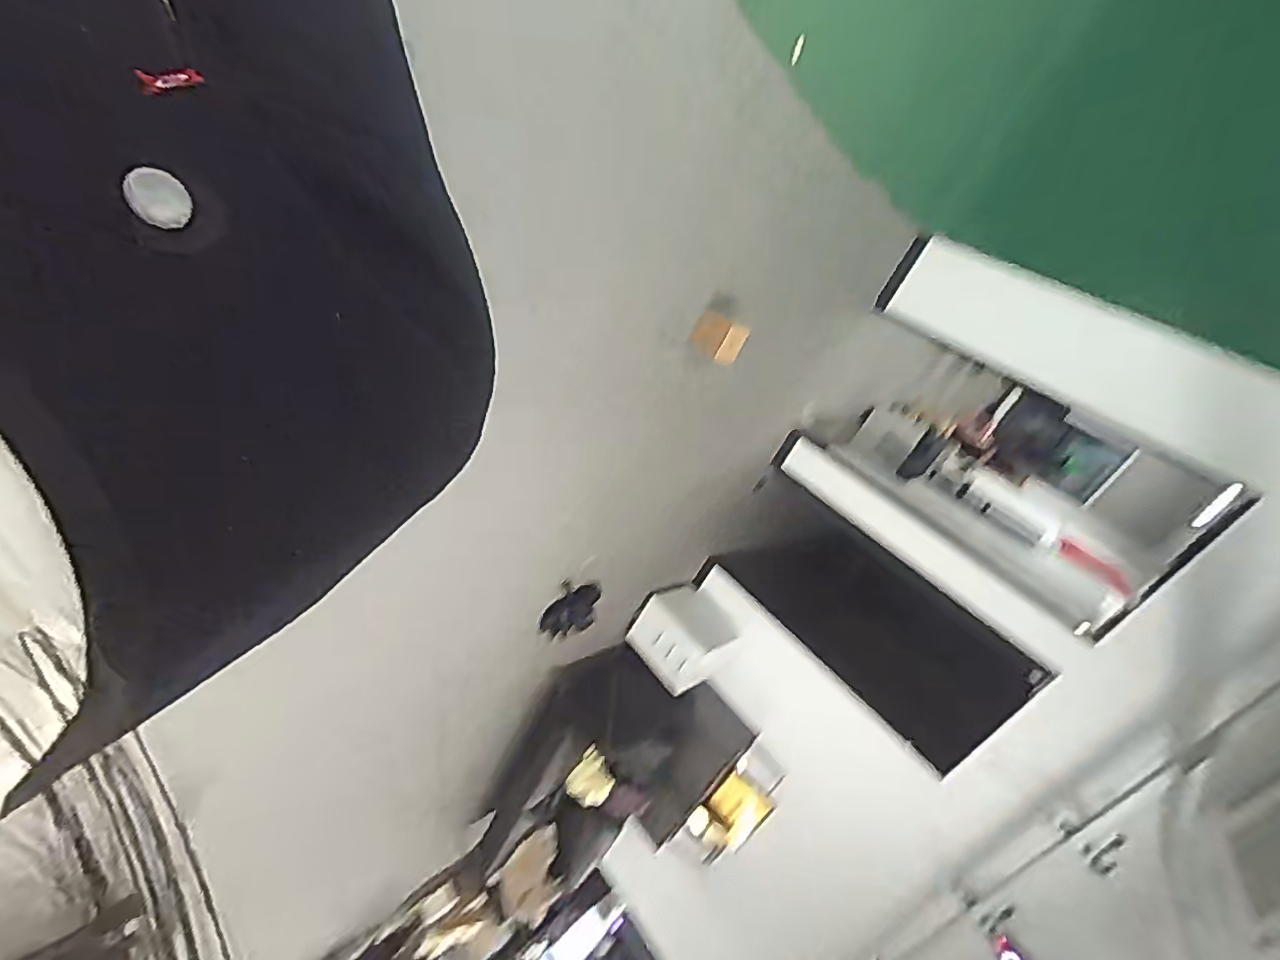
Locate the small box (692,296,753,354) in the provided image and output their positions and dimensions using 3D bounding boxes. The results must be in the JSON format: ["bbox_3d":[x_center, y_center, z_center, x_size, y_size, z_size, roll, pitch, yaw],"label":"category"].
[{"bbox_3d":[0.355,-0.677,2.368,0.168,0.176,0.179,-6,130,-51],"label":"small box"}]
